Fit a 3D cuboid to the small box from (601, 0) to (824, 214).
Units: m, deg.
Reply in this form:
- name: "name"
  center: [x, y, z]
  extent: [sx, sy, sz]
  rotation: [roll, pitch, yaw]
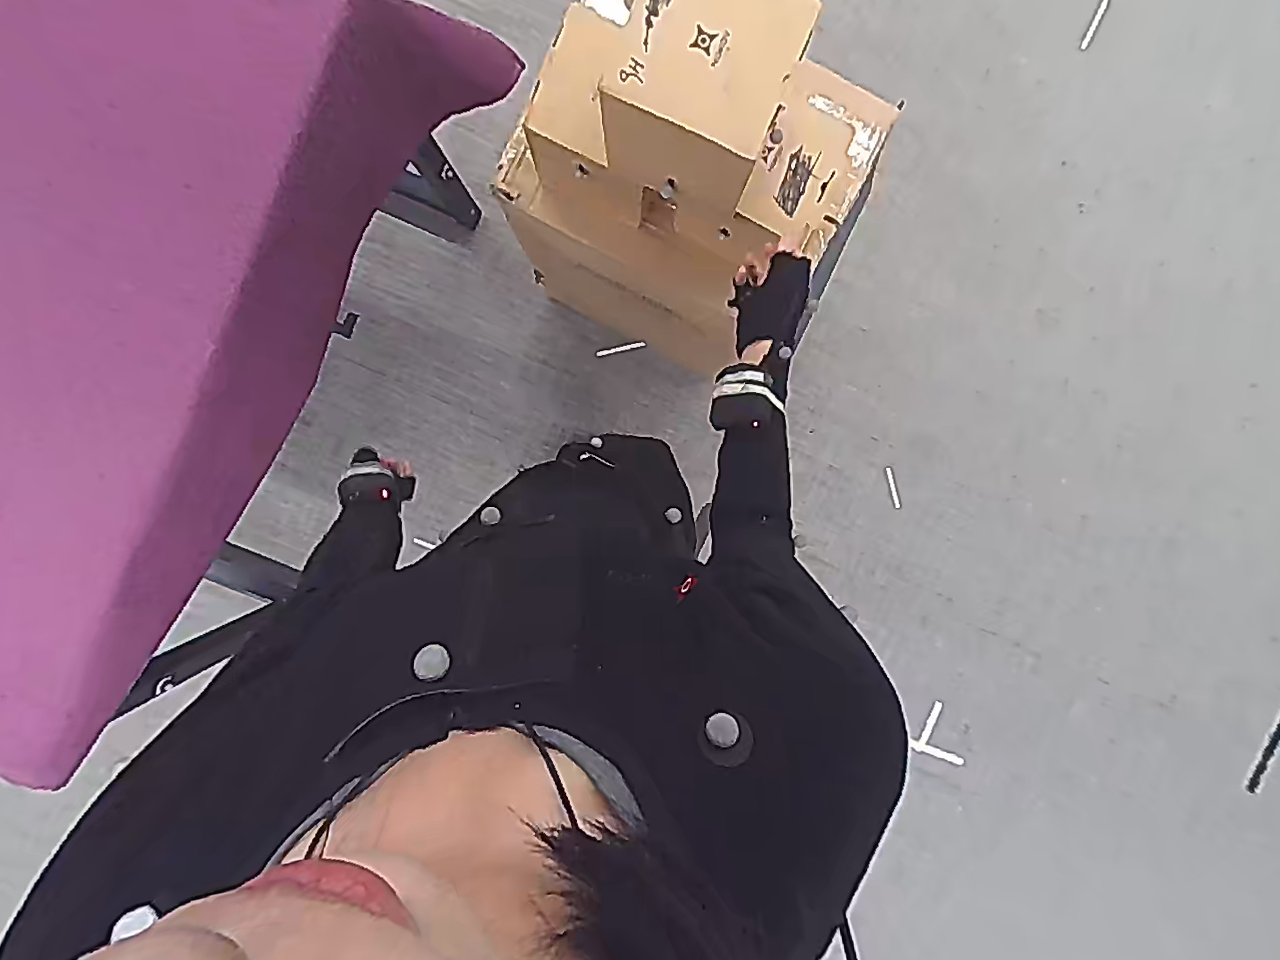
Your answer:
- name: "small box"
  center: [0.071, -0.434, 0.615]
  extent: [0.179, 0.176, 0.168]
  rotation: [24, 94, -3]

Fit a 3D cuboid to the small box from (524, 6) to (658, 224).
- name: "small box"
  center: [-0.042, -0.498, 0.772]
  extent: [0.179, 0.176, 0.168]
  rotation: [24, 94, -5]

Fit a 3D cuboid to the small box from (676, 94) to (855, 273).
- name: "small box"
  center: [0.167, -0.423, 0.780]
  extent: [0.179, 0.176, 0.168]
  rotation: [28, 93, -1]
